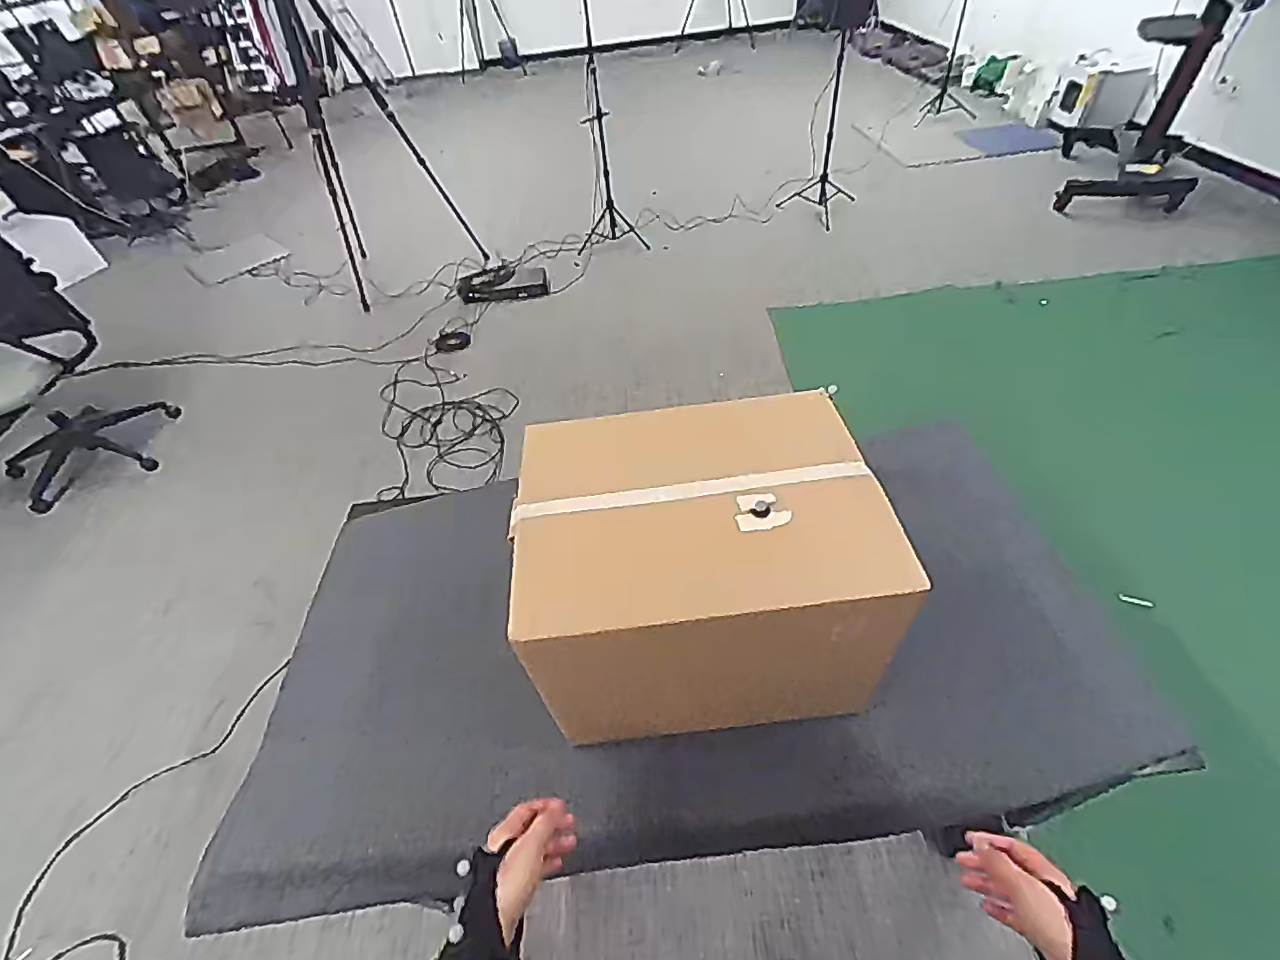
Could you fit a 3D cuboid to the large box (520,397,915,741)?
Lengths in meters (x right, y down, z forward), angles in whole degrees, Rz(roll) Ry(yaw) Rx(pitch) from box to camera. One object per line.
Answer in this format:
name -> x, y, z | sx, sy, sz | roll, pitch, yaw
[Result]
large box -> 0.073, 0.124, 0.737 | 0.408, 0.320, 0.320 | -7, 47, 0
